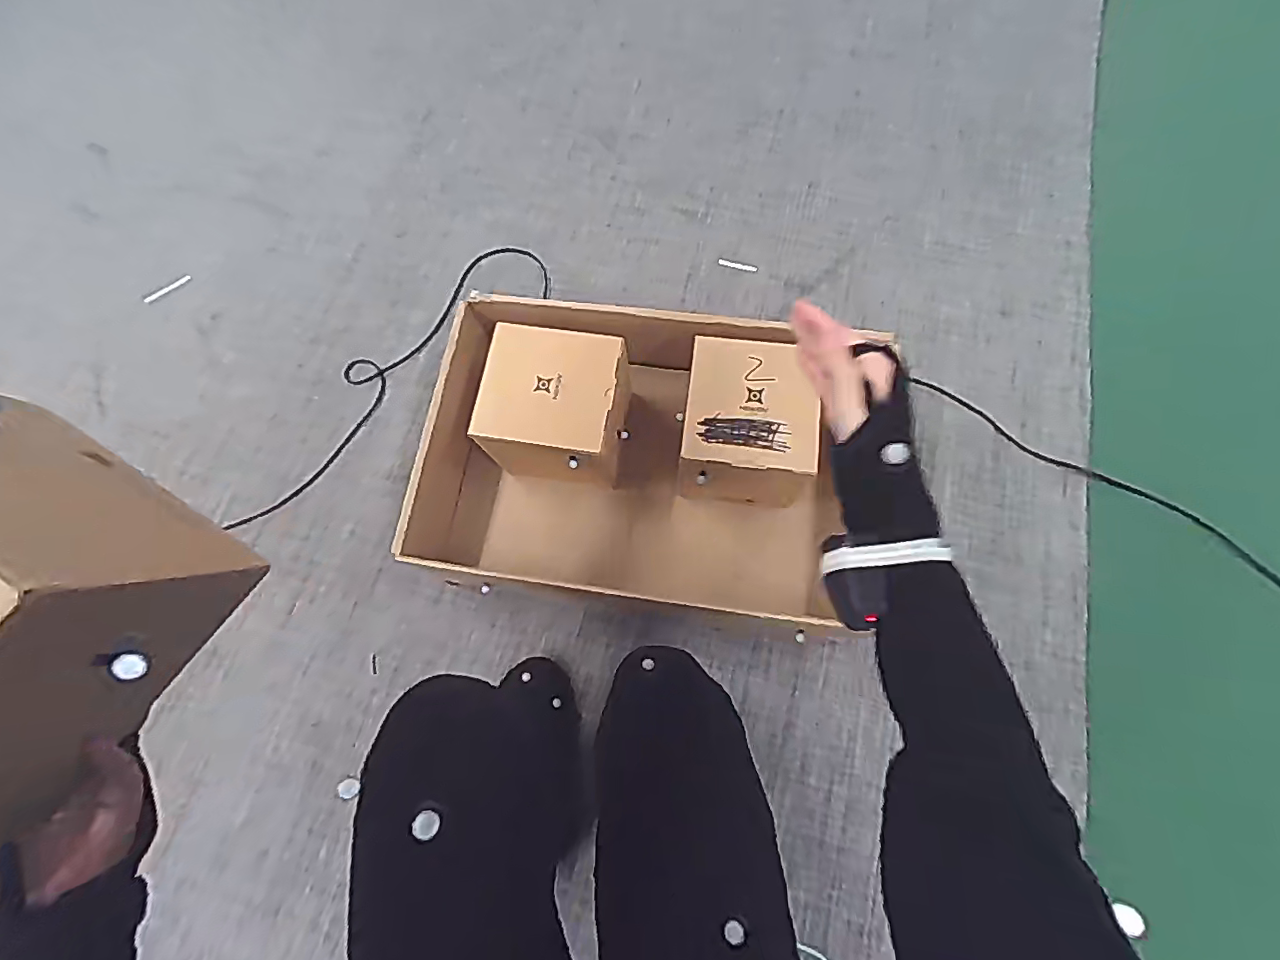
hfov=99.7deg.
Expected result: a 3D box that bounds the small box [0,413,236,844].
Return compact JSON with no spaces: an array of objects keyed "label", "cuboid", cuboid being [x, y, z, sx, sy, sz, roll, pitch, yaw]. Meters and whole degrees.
[{"label":"small box","cuboid":[-0.336,0.069,0.244,0.168,0.176,0.179,38,80,-4]}]

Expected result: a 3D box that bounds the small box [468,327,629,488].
[{"label":"small box","cuboid":[-0.118,-0.095,0.775,0.179,0.176,0.168,8,74,5]}]
